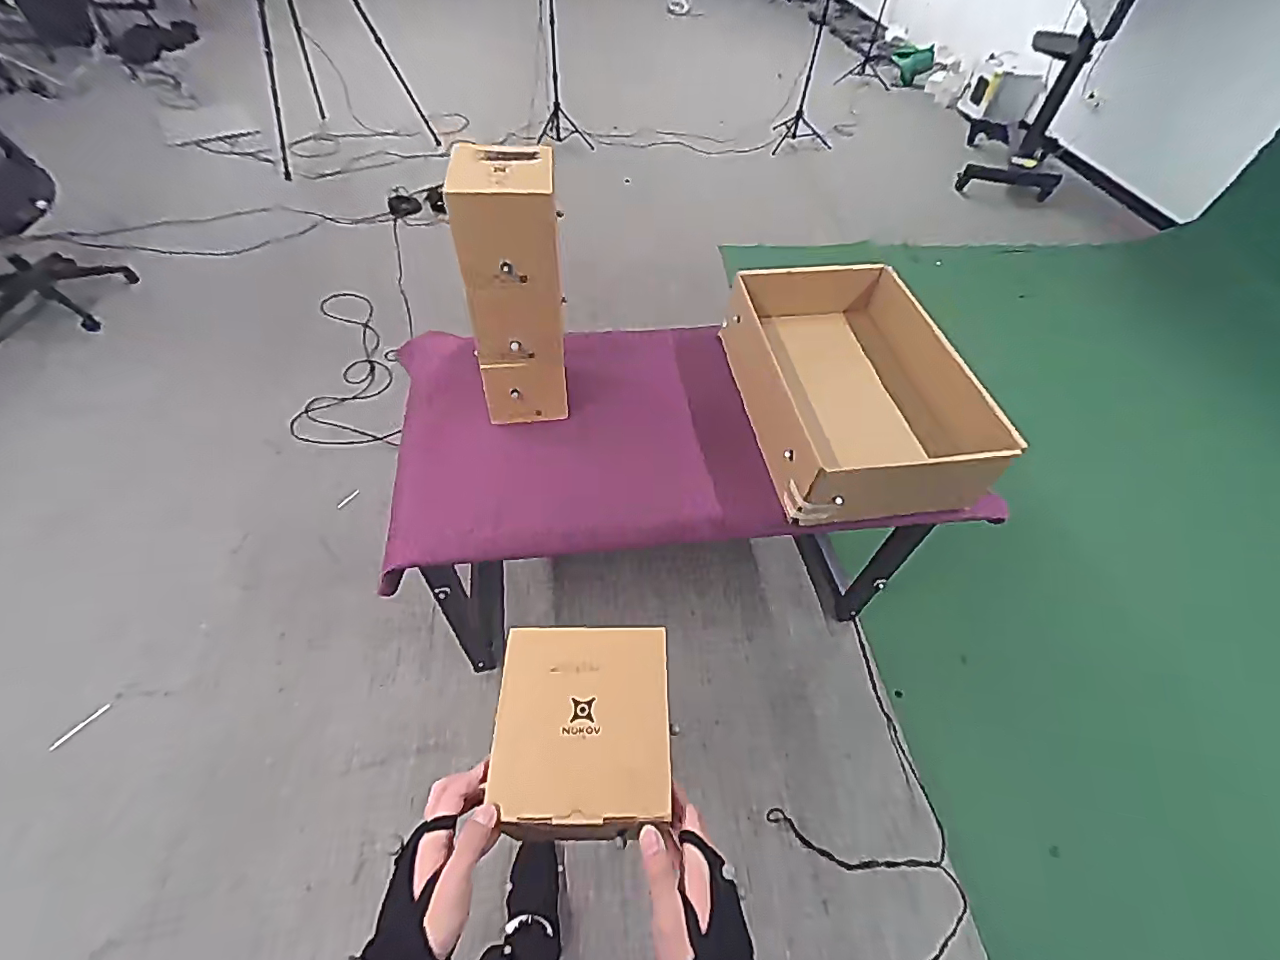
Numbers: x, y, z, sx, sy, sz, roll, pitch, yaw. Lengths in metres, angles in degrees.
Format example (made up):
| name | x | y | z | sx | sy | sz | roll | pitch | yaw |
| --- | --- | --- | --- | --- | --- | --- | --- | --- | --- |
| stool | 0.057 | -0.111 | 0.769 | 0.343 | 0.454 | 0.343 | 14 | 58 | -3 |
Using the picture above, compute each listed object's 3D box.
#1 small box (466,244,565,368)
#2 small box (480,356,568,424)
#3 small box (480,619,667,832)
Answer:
| name | x | y | z | sx | sy | sz | roll | pitch | yaw |
| --- | --- | --- | --- | --- | --- | --- | --- | --- | --- |
| small box | -0.235 | -0.341 | 1.063 | 0.168 | 0.176 | 0.179 | -2 | 52 | -6 |
| small box | -0.251 | -0.236 | 1.188 | 0.168 | 0.176 | 0.179 | -6 | 52 | -9 |
| small box | -0.056 | 0.266 | 0.578 | 0.168 | 0.176 | 0.179 | 1 | 51 | 0 |
